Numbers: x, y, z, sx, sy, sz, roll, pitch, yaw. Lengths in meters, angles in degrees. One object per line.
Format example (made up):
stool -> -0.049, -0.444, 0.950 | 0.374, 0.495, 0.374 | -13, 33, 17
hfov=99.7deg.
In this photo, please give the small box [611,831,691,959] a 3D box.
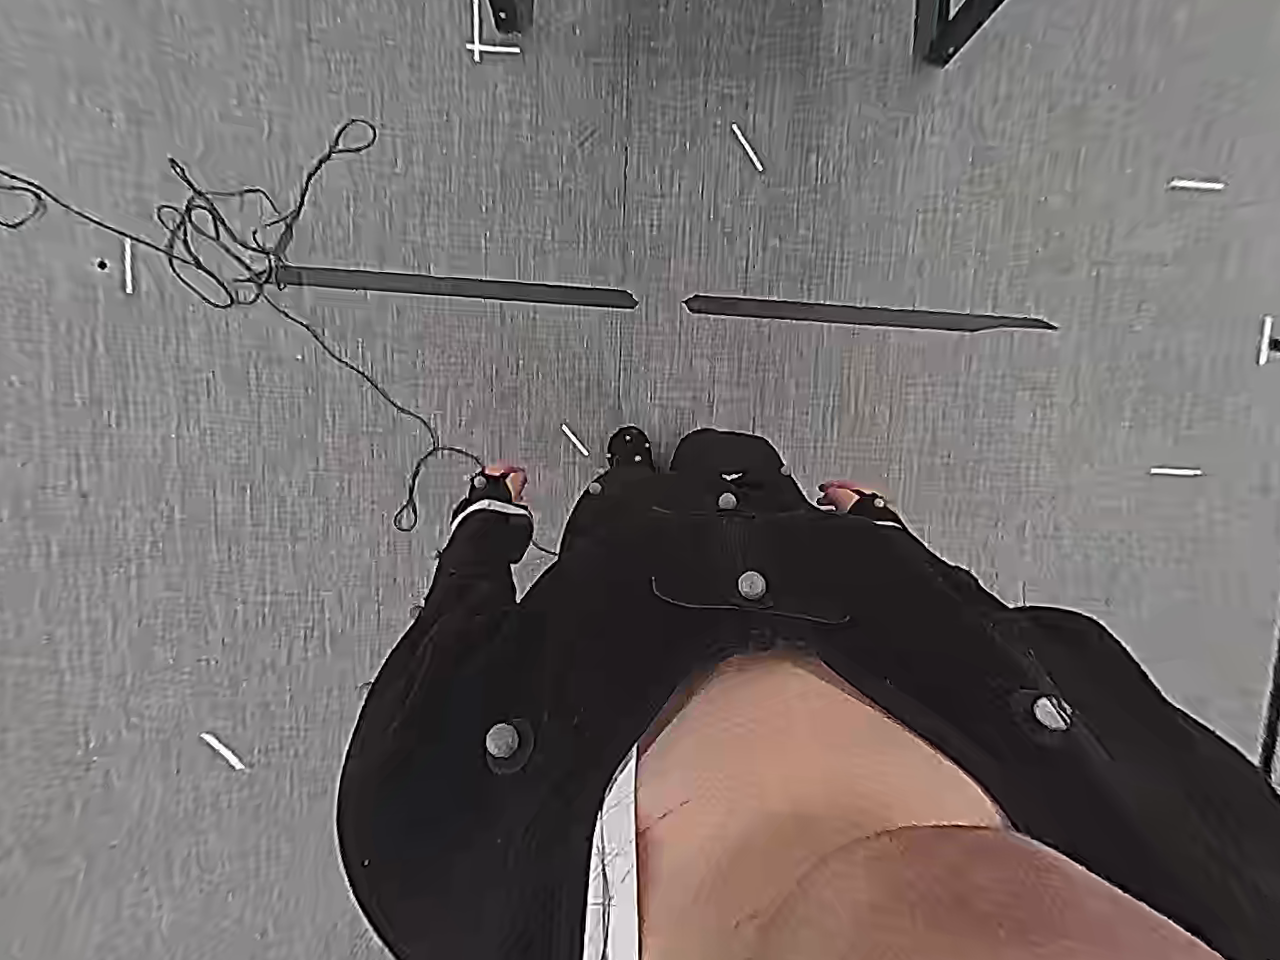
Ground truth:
small box -> 0.021, 0.923, 1.202 | 0.168, 0.176, 0.179 | -1, 95, -3
